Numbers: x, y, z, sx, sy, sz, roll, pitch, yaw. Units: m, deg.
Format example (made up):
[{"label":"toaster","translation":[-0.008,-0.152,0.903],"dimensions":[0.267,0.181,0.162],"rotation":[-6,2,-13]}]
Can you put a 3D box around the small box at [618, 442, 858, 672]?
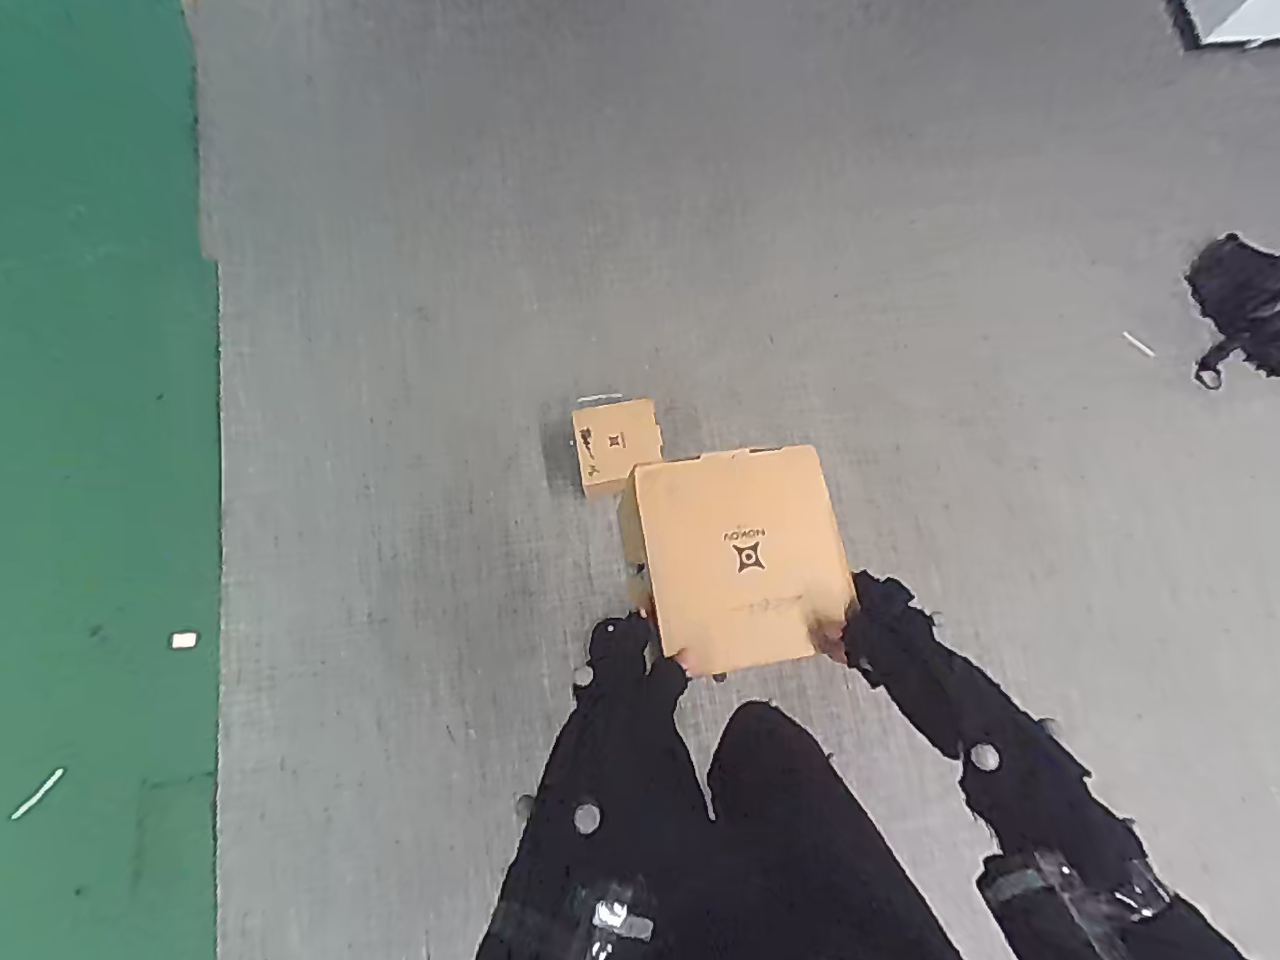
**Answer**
[{"label":"small box","translation":[0.075,0.081,0.525],"dimensions":[0.168,0.176,0.179],"rotation":[-8,75,-9]}]

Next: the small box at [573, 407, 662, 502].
[{"label":"small box","translation":[-0.050,-0.052,1.208],"dimensions":[0.179,0.176,0.168],"rotation":[-9,79,-5]}]
